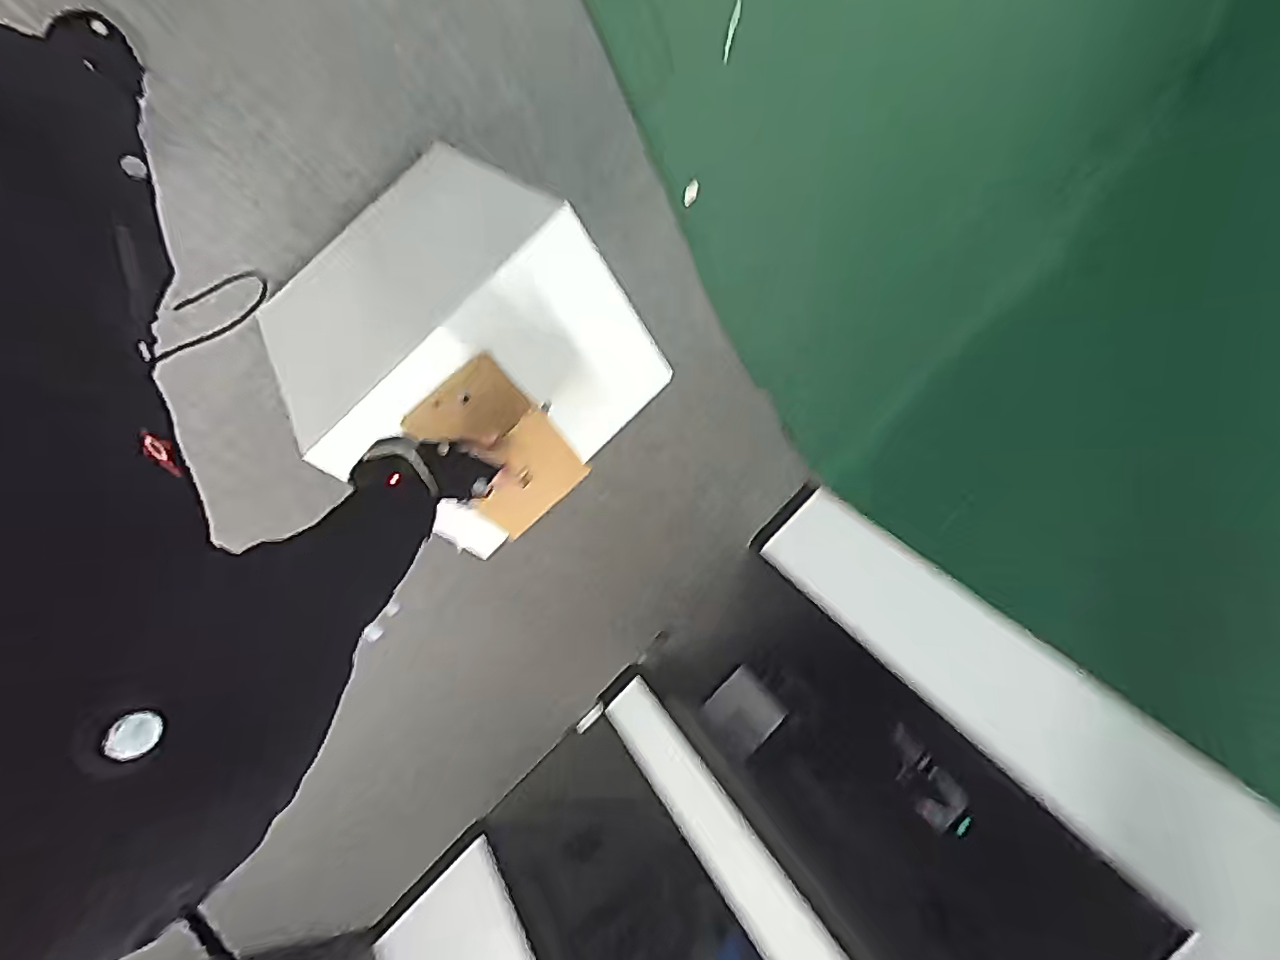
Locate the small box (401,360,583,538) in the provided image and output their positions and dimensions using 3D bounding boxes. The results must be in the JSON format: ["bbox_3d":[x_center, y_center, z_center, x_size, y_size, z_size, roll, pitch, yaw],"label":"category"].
[{"bbox_3d":[-0.222,-0.049,0.820,0.168,0.176,0.179,-42,144,-5],"label":"small box"}]
